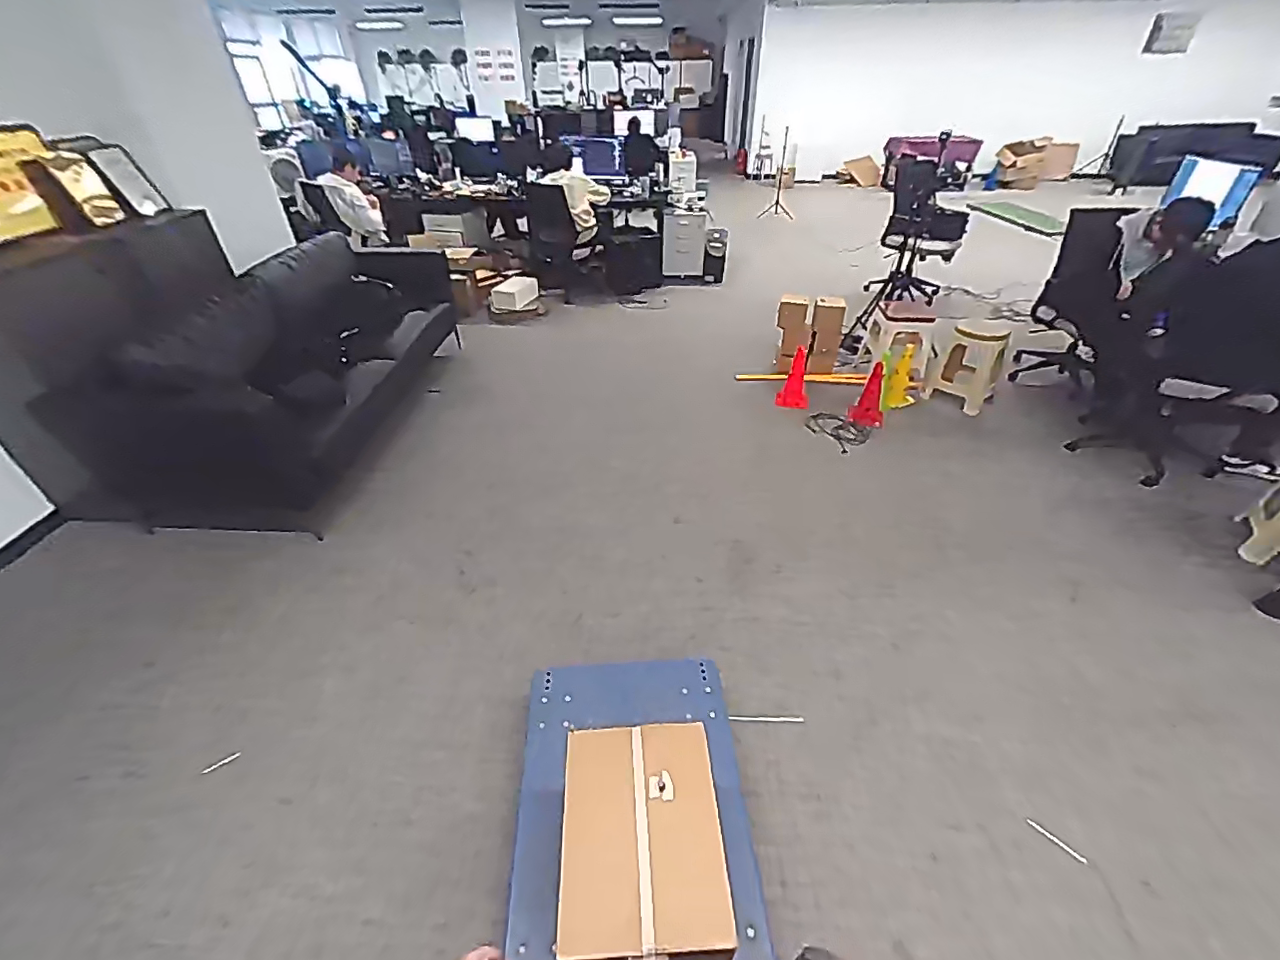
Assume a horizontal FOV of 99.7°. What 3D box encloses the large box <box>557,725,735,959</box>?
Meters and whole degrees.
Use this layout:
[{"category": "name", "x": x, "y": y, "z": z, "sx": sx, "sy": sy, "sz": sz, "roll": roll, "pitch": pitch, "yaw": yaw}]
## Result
[{"category": "large box", "x": 0.003, "y": 0.812, "z": 1.169, "sx": 0.320, "sy": 0.320, "sz": 0.408, "roll": -3, "pitch": 37, "yaw": -2}]
